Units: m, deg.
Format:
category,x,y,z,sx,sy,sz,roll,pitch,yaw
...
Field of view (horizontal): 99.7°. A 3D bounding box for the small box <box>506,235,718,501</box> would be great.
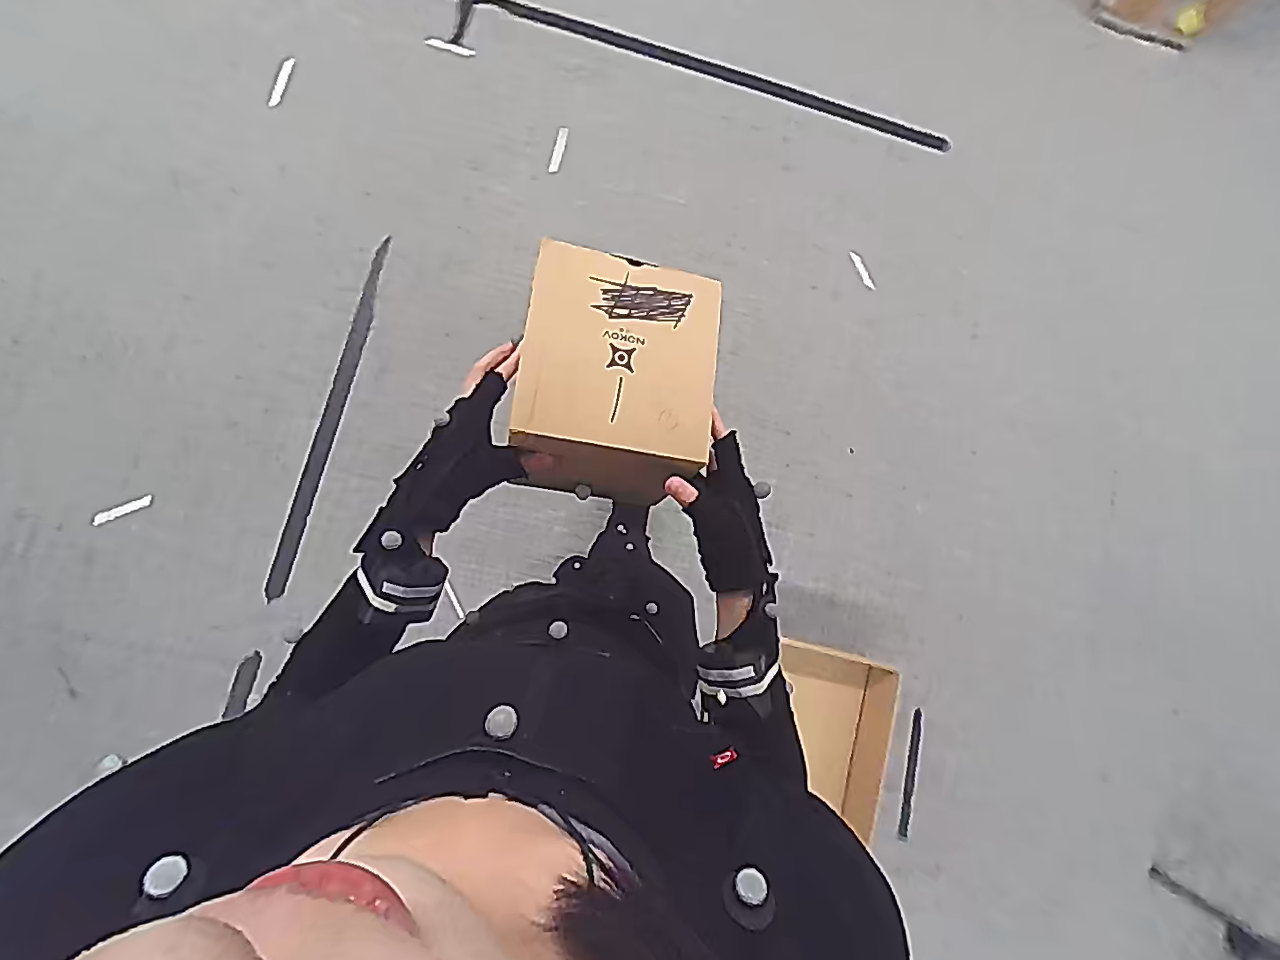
category,x,y,z,sx,sy,sz,roll,pitch,yaw
small box,-0.034,-0.091,0.520,0.168,0.176,0.179,8,73,-12
